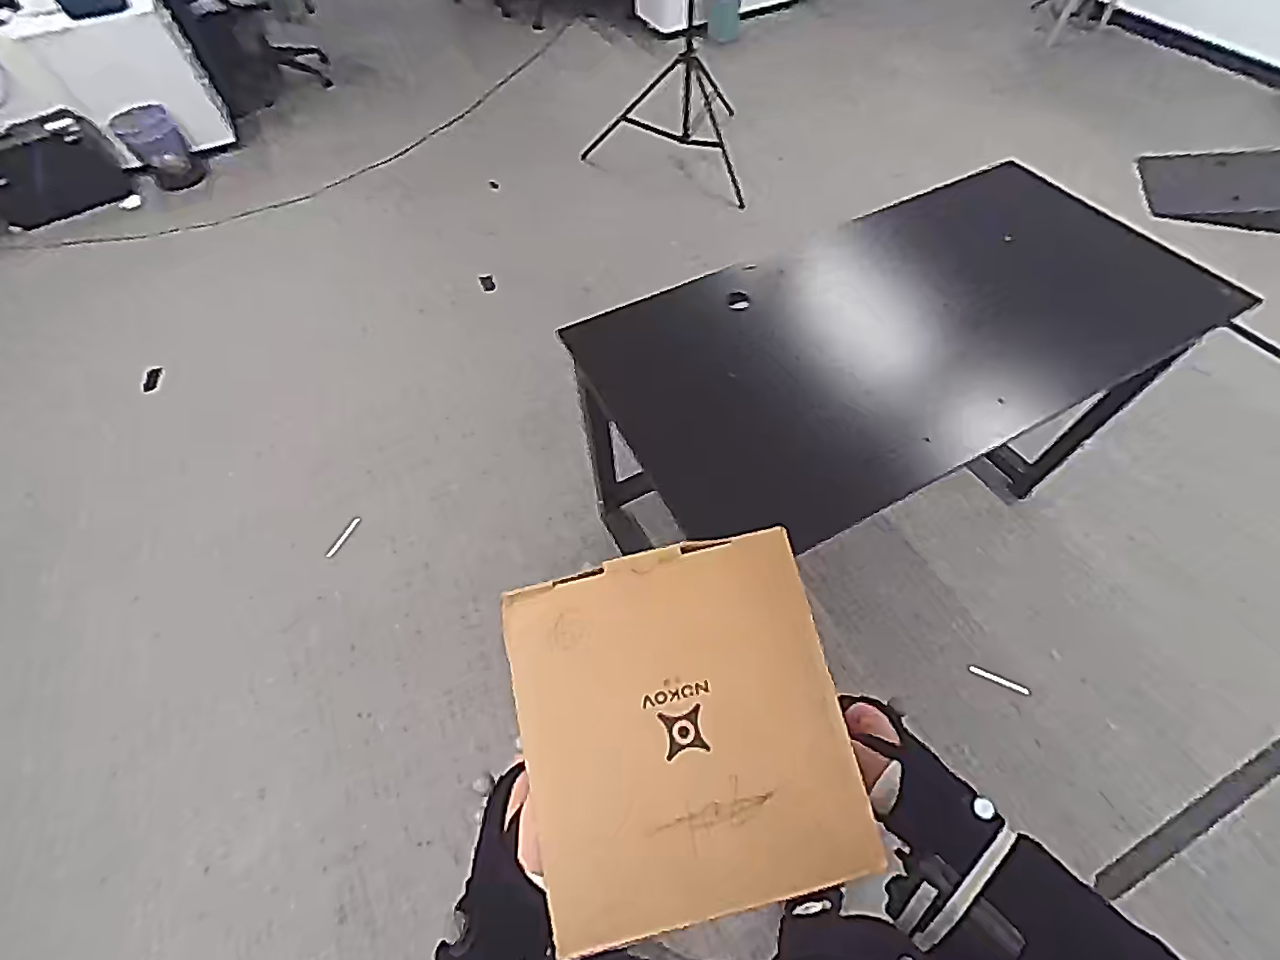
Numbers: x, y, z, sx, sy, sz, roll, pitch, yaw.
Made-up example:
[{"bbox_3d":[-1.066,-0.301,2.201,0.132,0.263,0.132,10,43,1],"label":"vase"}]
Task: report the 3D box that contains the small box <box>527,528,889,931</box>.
[{"bbox_3d":[0.030,0.145,0.368,0.168,0.176,0.179,-12,76,-2],"label":"small box"}]
